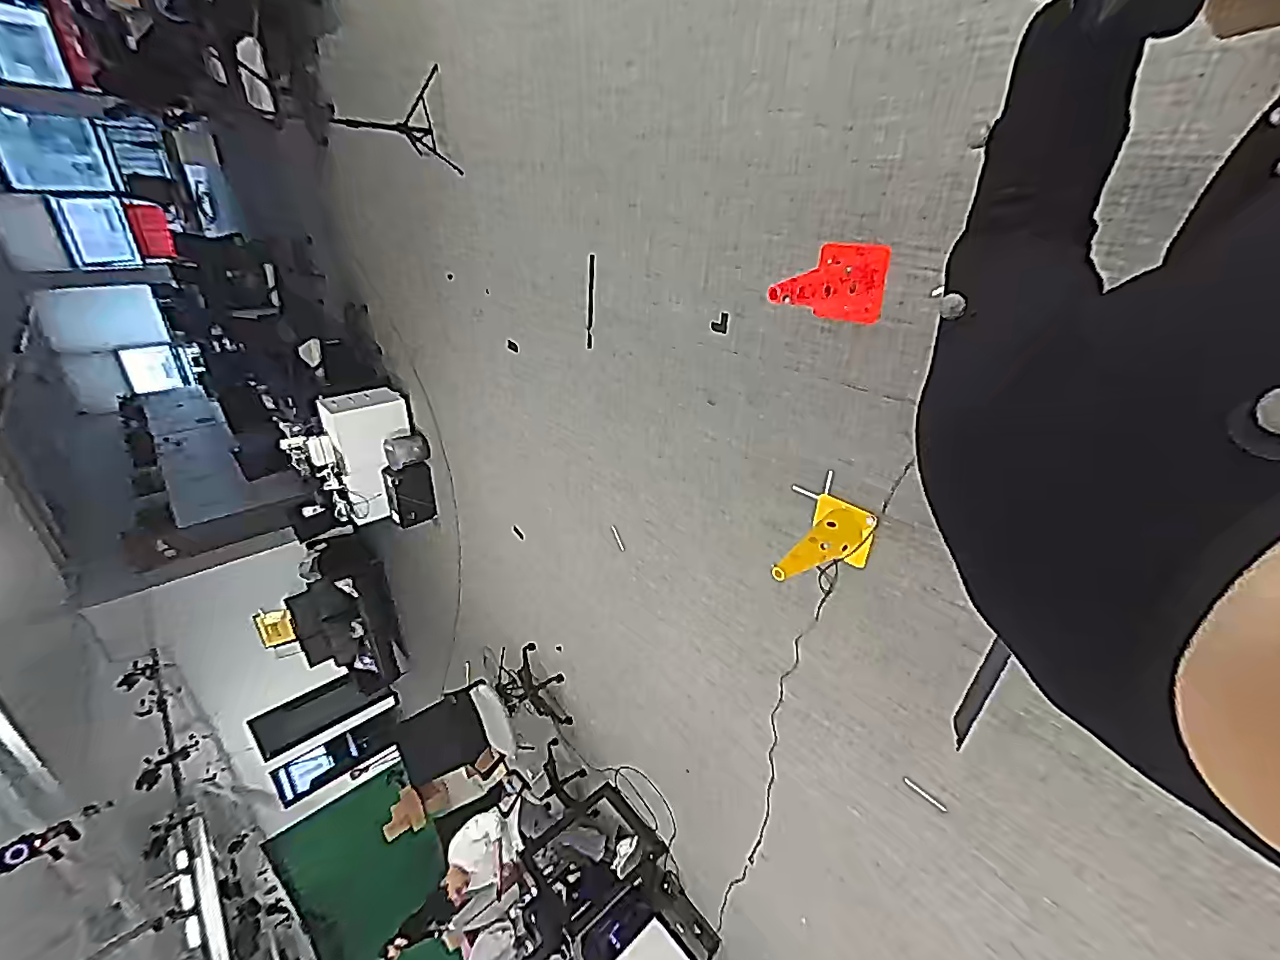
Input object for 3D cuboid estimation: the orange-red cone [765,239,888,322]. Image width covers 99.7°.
[{"bbox_3d":[0.444,-0.493,1.380,0.198,0.360,0.199,28,129,41],"label":"orange-red cone"}]
